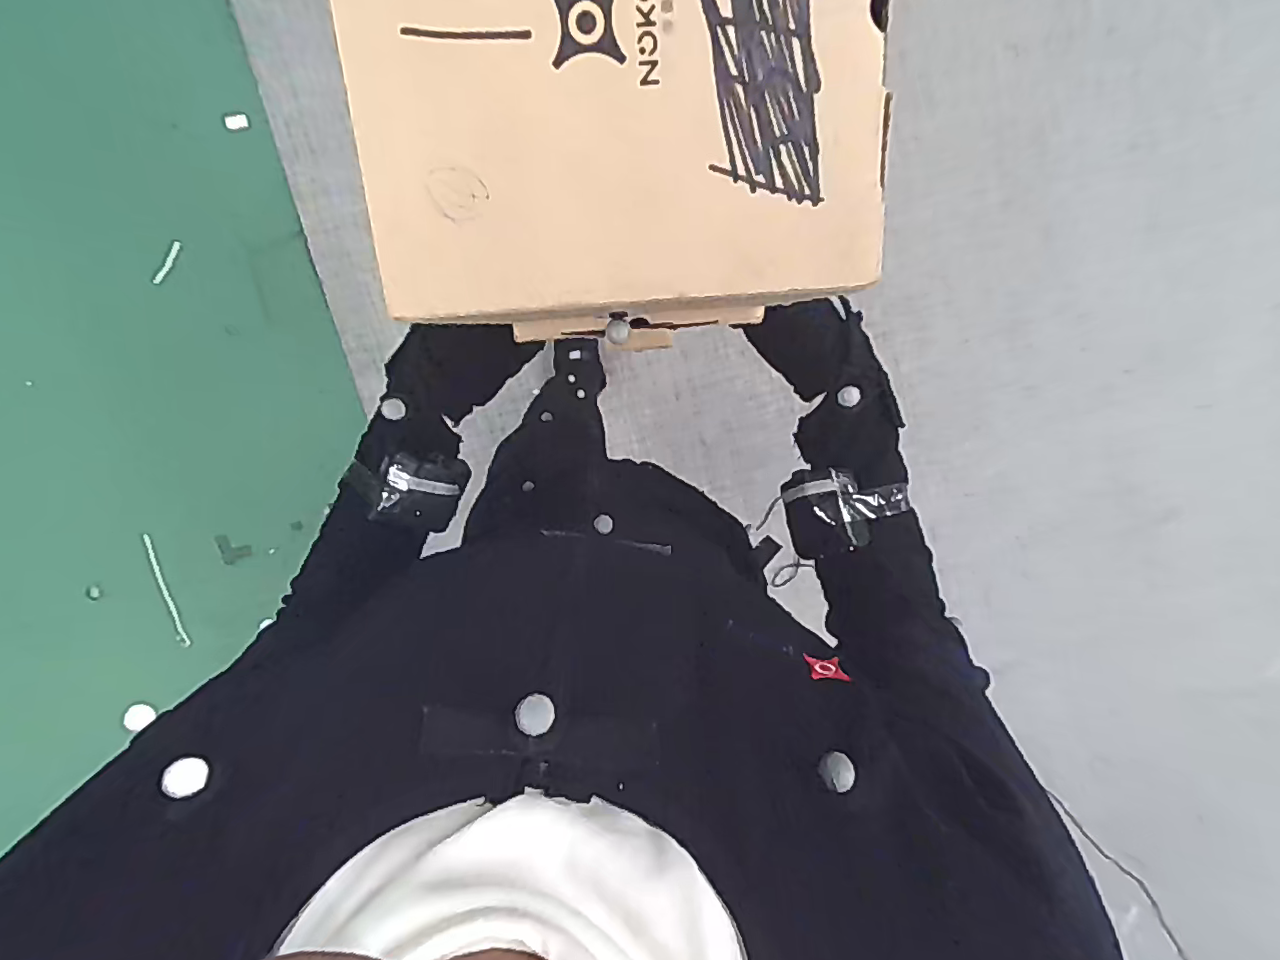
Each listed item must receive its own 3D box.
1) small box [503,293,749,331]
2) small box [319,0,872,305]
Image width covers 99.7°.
[{"bbox_3d":[-0.012,-0.211,0.406,0.168,0.176,0.179,-3,108,1],"label":"small box"},{"bbox_3d":[-0.013,-0.170,0.246,0.179,0.176,0.168,-2,106,2],"label":"small box"}]
